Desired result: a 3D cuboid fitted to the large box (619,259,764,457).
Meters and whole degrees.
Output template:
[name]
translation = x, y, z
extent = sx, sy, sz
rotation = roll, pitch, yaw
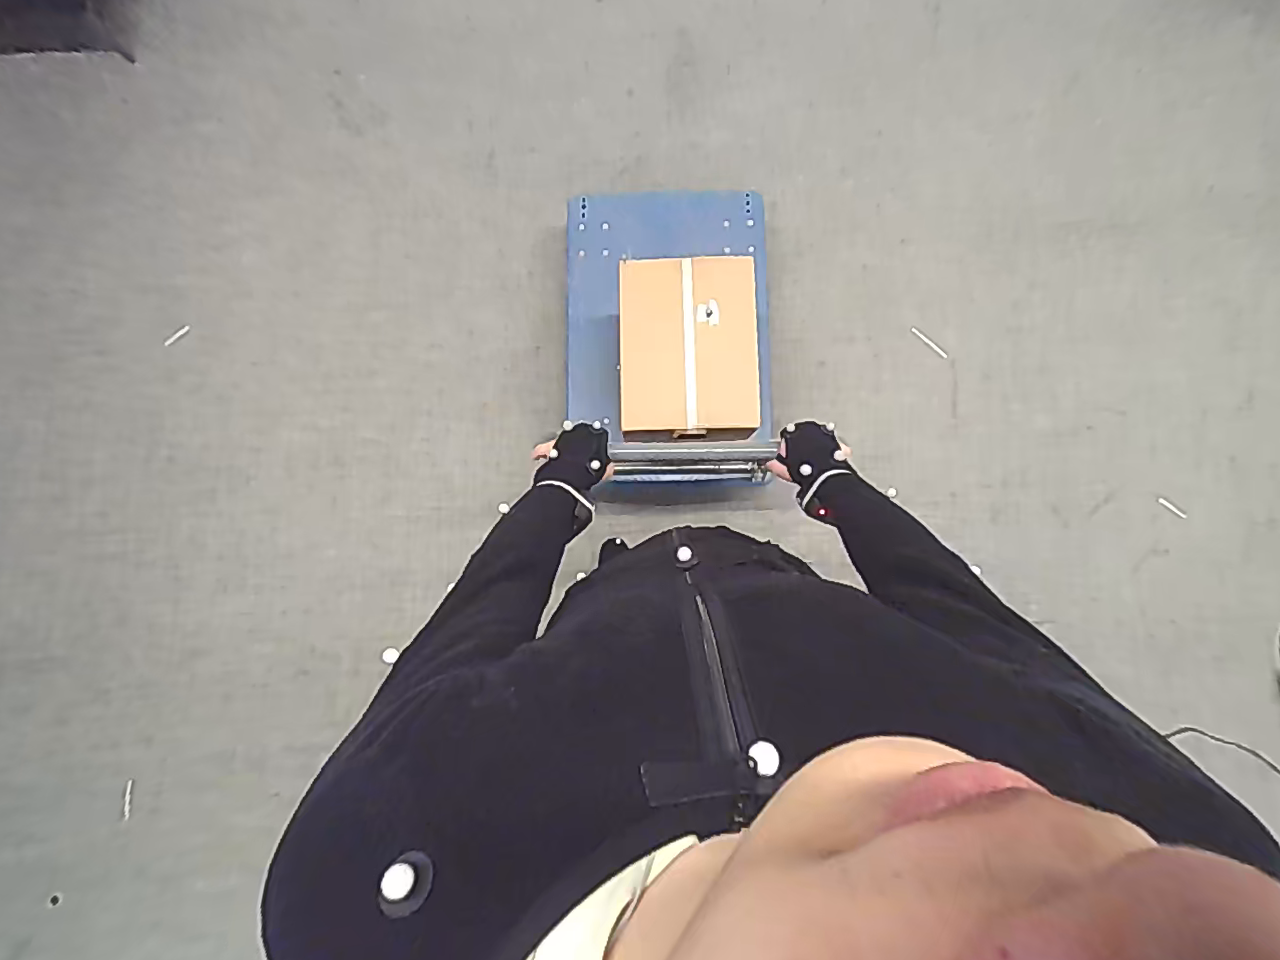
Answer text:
[large box]
translation = 0.117, -0.283, 1.358
extent = 0.320, 0.320, 0.408
rotation = -1, 83, 0
